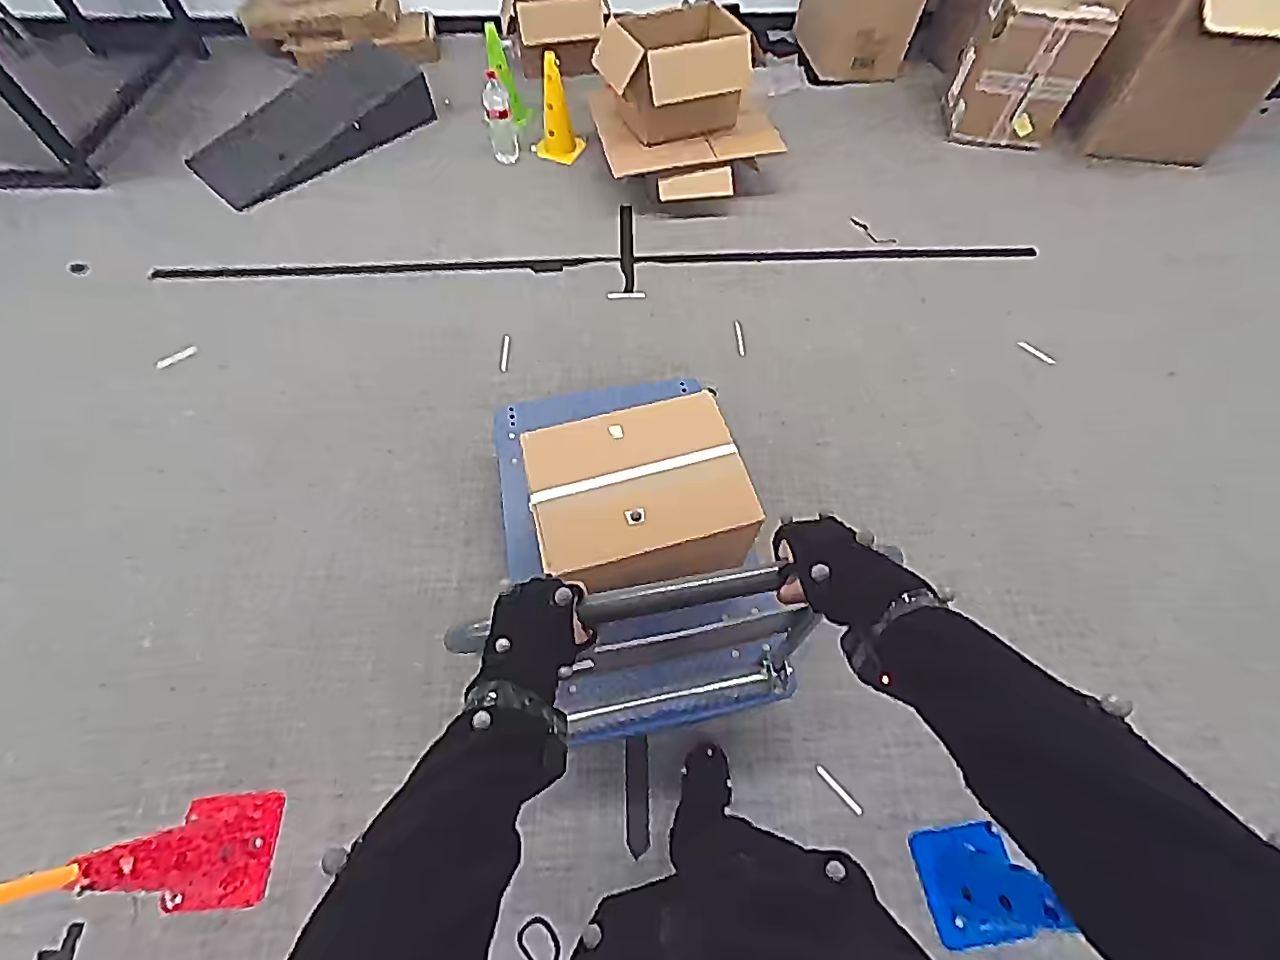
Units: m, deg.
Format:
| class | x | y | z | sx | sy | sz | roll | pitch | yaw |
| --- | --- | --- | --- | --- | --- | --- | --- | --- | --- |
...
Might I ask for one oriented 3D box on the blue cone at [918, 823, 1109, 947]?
| class | x | y | z | sx | sy | sz | roll | pitch | yaw |
| --- | --- | --- | --- | --- | --- | --- | --- | --- | --- |
| blue cone | 0.687 | 0.742 | 0.967 | 0.193 | 0.380 | 0.192 | -5 | 59 | -4 |
